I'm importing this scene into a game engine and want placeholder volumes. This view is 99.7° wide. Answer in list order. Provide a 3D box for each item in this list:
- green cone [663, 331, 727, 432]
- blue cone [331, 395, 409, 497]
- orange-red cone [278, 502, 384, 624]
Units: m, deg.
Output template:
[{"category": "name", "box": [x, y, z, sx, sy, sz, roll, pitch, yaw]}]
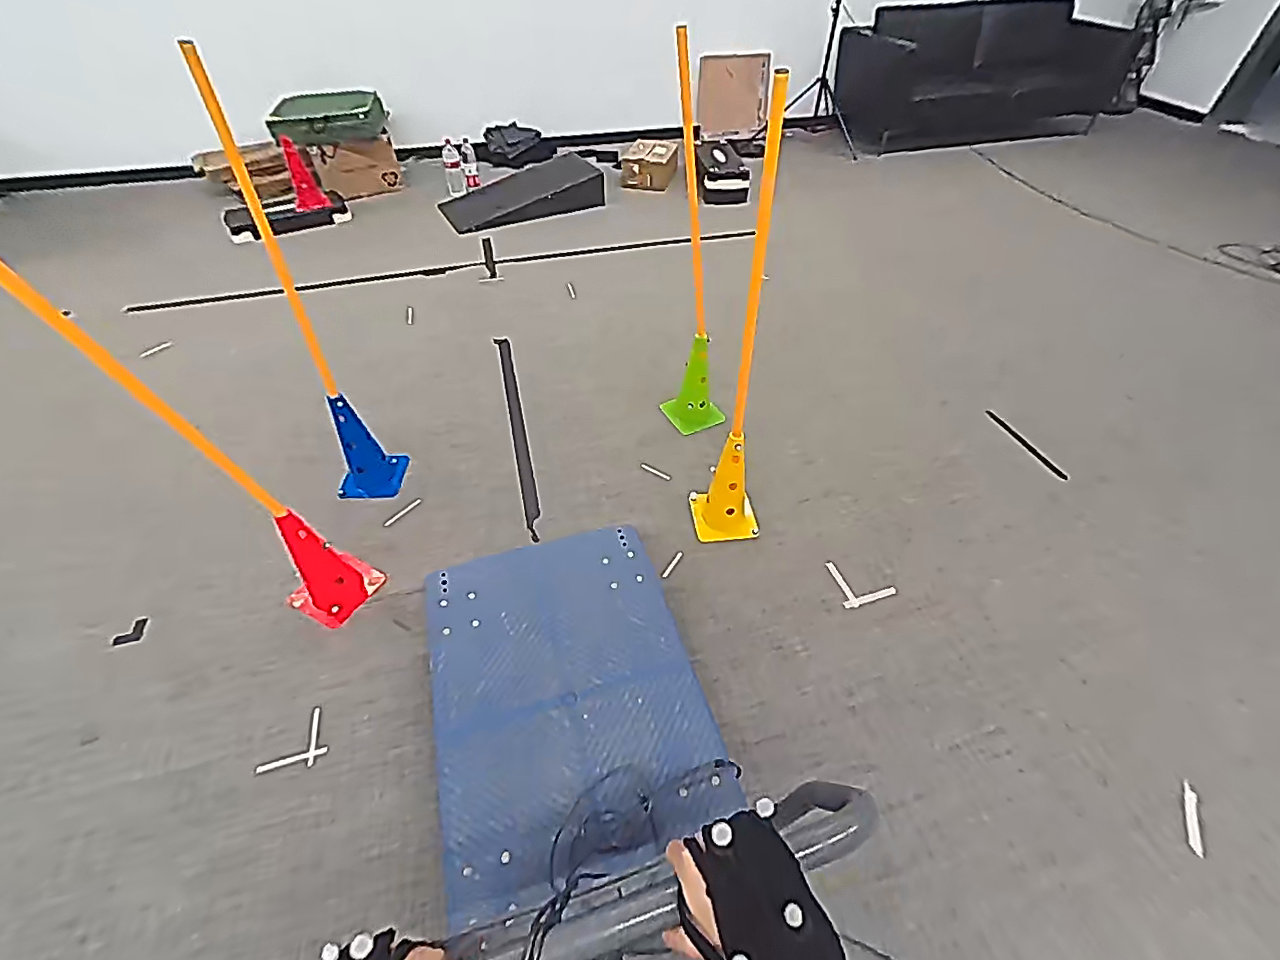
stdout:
[{"category": "green cone", "box": [0.217, -0.387, 1.999, 0.200, 0.368, 0.202, -22, 52, -20]}, {"category": "blue cone", "box": [-0.910, -0.125, 1.760, 0.193, 0.380, 0.192, 0, 48, -1]}, {"category": "orange-red cone", "box": [-0.871, 0.188, 1.448, 0.198, 0.360, 0.199, 24, 50, 19]}]
